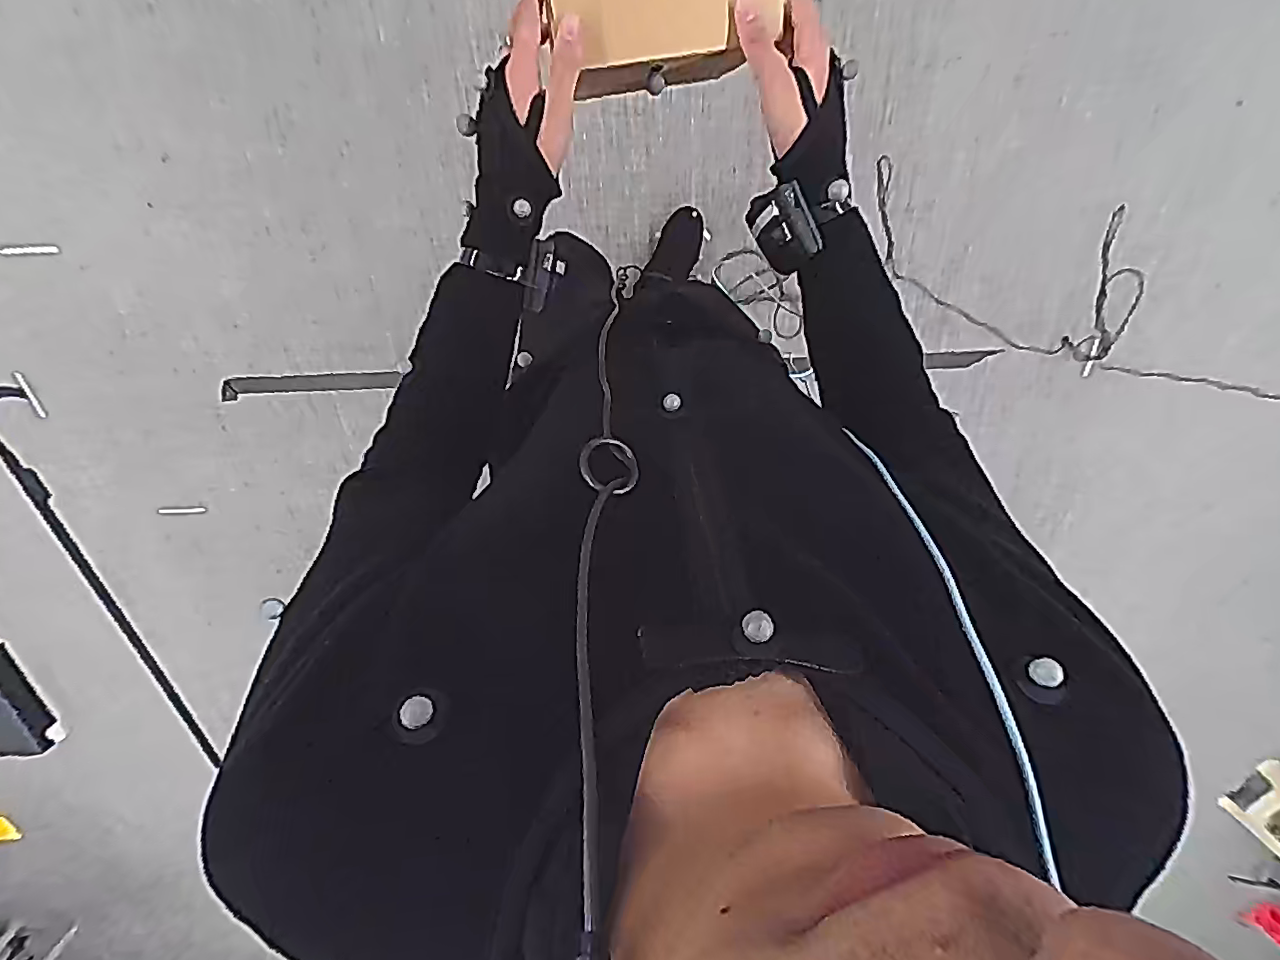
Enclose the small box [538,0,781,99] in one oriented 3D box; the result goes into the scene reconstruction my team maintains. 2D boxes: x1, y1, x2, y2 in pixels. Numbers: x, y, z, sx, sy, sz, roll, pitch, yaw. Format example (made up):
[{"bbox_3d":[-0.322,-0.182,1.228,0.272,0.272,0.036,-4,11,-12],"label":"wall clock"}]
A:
[{"bbox_3d":[0.002,-0.429,0.441,0.179,0.176,0.168,-11,120,-3],"label":"small box"}]
